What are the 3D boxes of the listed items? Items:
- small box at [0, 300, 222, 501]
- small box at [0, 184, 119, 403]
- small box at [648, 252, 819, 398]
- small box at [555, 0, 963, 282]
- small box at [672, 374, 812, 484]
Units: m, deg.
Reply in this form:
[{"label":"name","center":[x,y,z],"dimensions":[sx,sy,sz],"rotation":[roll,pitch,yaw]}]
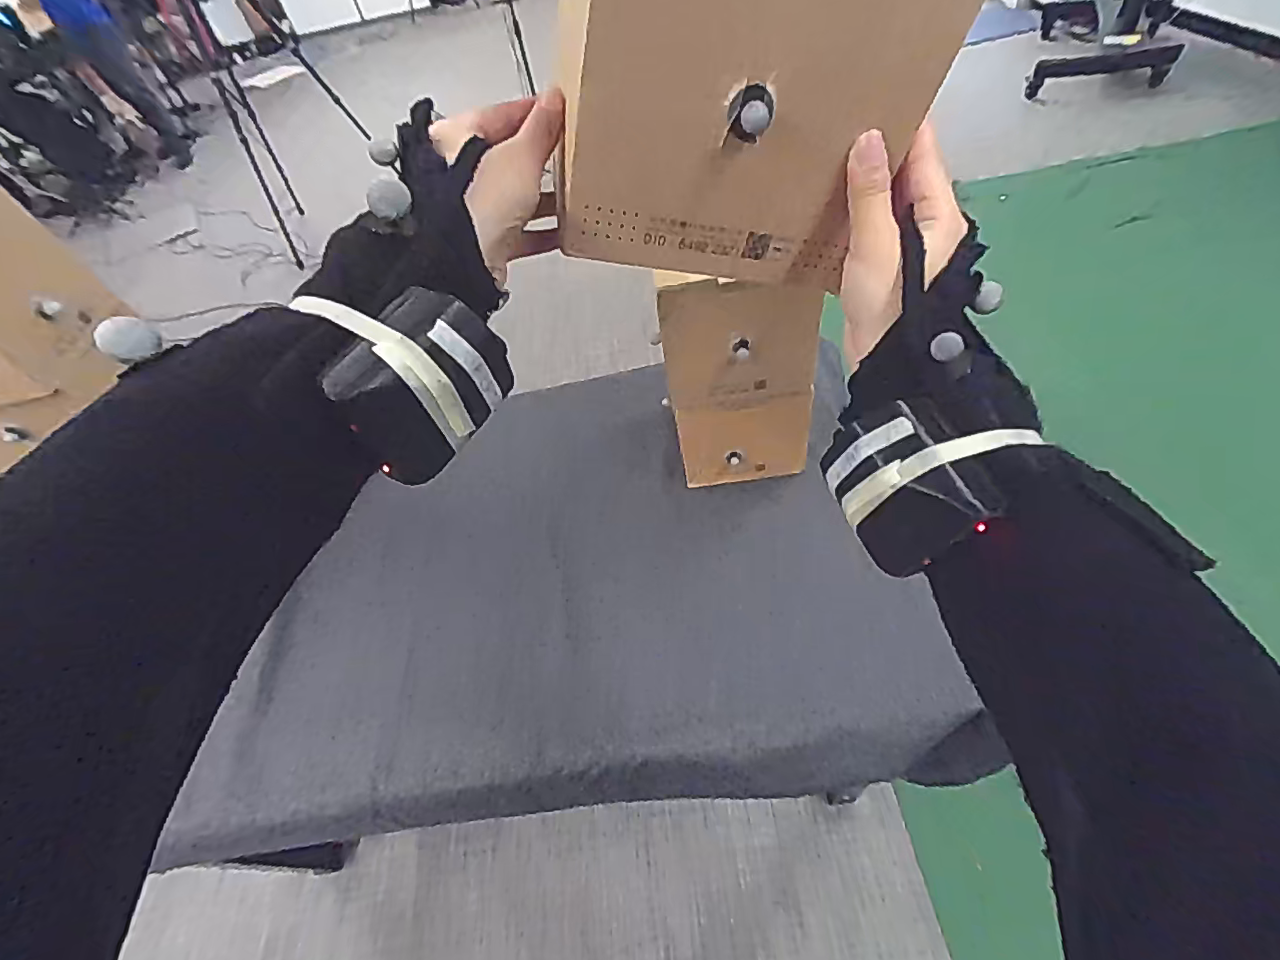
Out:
[{"label":"small box","center":[-0.689,-0.093,0.679],"dimensions":[0.179,0.176,0.168],"rotation":[-12,54,0]},{"label":"small box","center":[-0.708,-0.184,0.543],"dimensions":[0.179,0.176,0.168],"rotation":[-10,54,1]},{"label":"small box","center":[0.101,-0.210,0.617],"dimensions":[0.168,0.176,0.179],"rotation":[-7,54,5]},{"label":"small box","center":[0.044,-0.232,0.301],"dimensions":[0.168,0.176,0.179],"rotation":[2,48,-15]},{"label":"small box","center":[0.129,-0.118,0.750],"dimensions":[0.168,0.176,0.179],"rotation":[-8,53,5]}]
